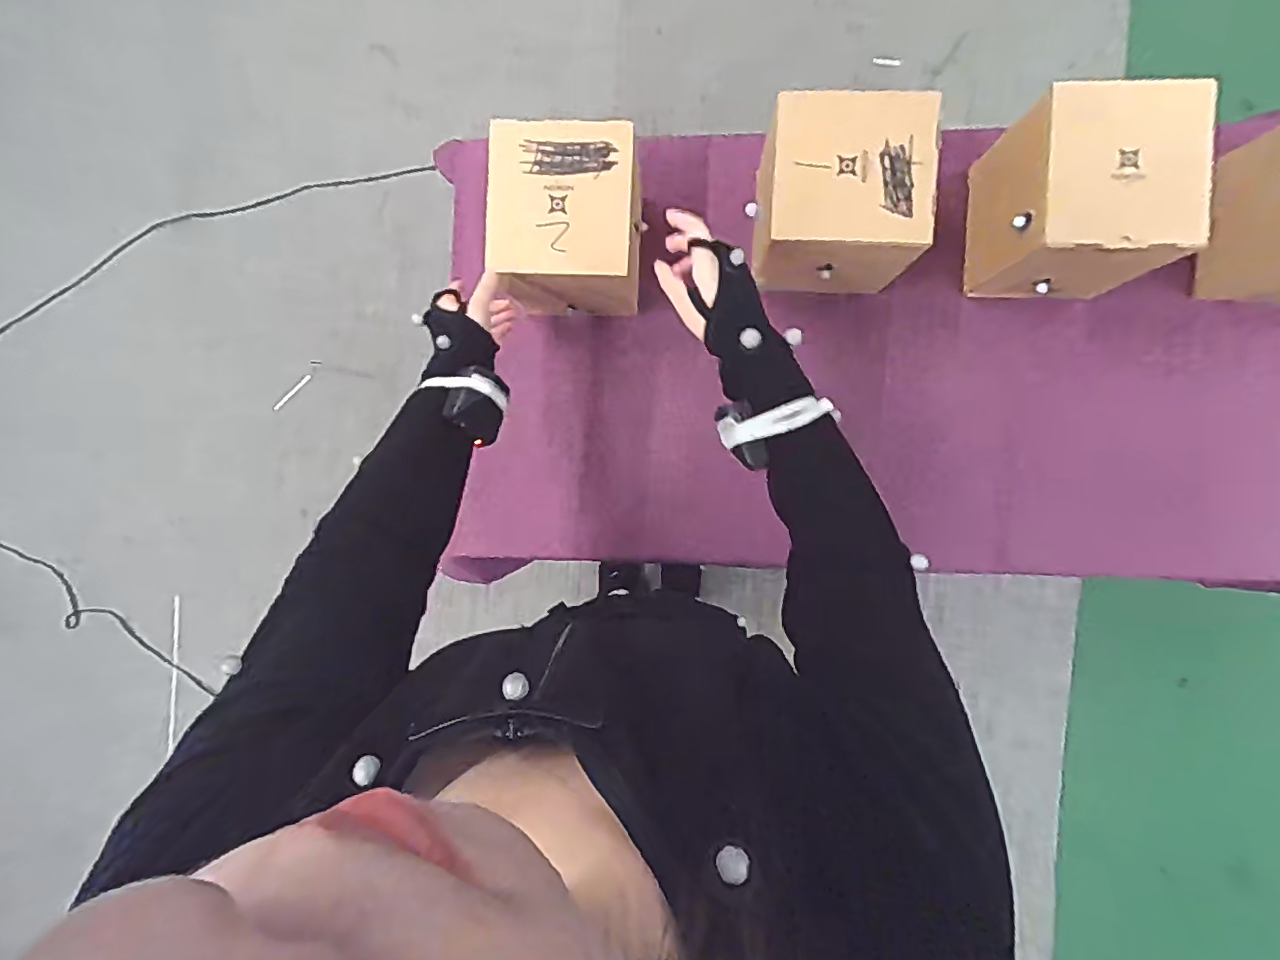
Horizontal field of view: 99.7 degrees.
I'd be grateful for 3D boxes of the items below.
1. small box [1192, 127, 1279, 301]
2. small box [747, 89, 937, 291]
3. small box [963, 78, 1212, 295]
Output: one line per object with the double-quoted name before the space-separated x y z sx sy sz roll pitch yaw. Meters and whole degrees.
"small box" 0.805 -0.320 0.625 0.168 0.176 0.179 4 94 5
"small box" 0.235 -0.344 0.670 0.179 0.176 0.168 3 91 5
"small box" 0.517 -0.338 0.651 0.168 0.176 0.179 2 92 4
